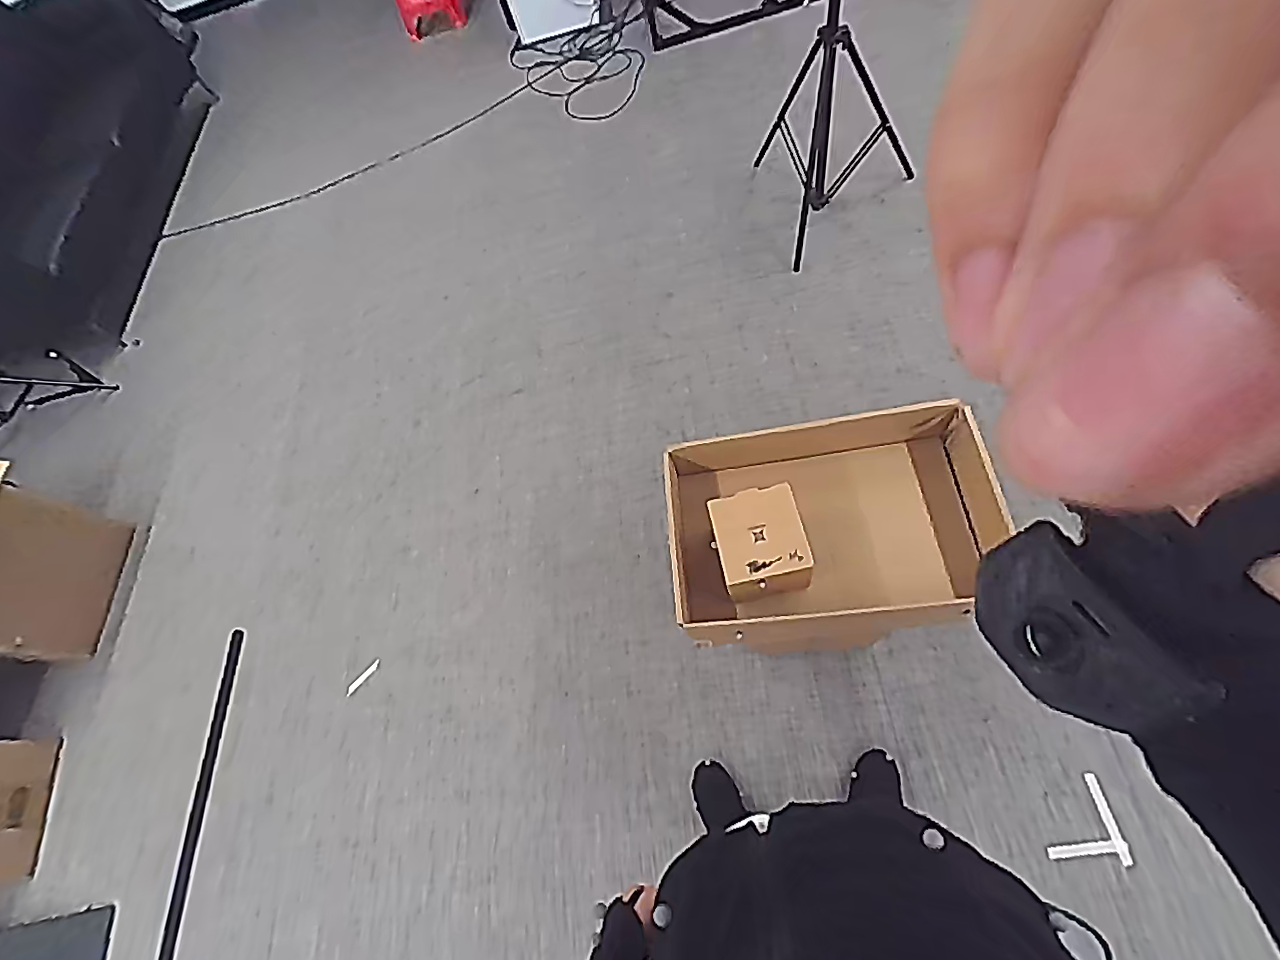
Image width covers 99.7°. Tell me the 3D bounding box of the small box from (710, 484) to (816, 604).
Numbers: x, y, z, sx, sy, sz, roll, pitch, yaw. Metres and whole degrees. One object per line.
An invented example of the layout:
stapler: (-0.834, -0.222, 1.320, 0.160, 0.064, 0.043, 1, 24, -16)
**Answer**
small box: (0.245, 0.134, 1.090, 0.168, 0.176, 0.179, -15, 63, 8)
